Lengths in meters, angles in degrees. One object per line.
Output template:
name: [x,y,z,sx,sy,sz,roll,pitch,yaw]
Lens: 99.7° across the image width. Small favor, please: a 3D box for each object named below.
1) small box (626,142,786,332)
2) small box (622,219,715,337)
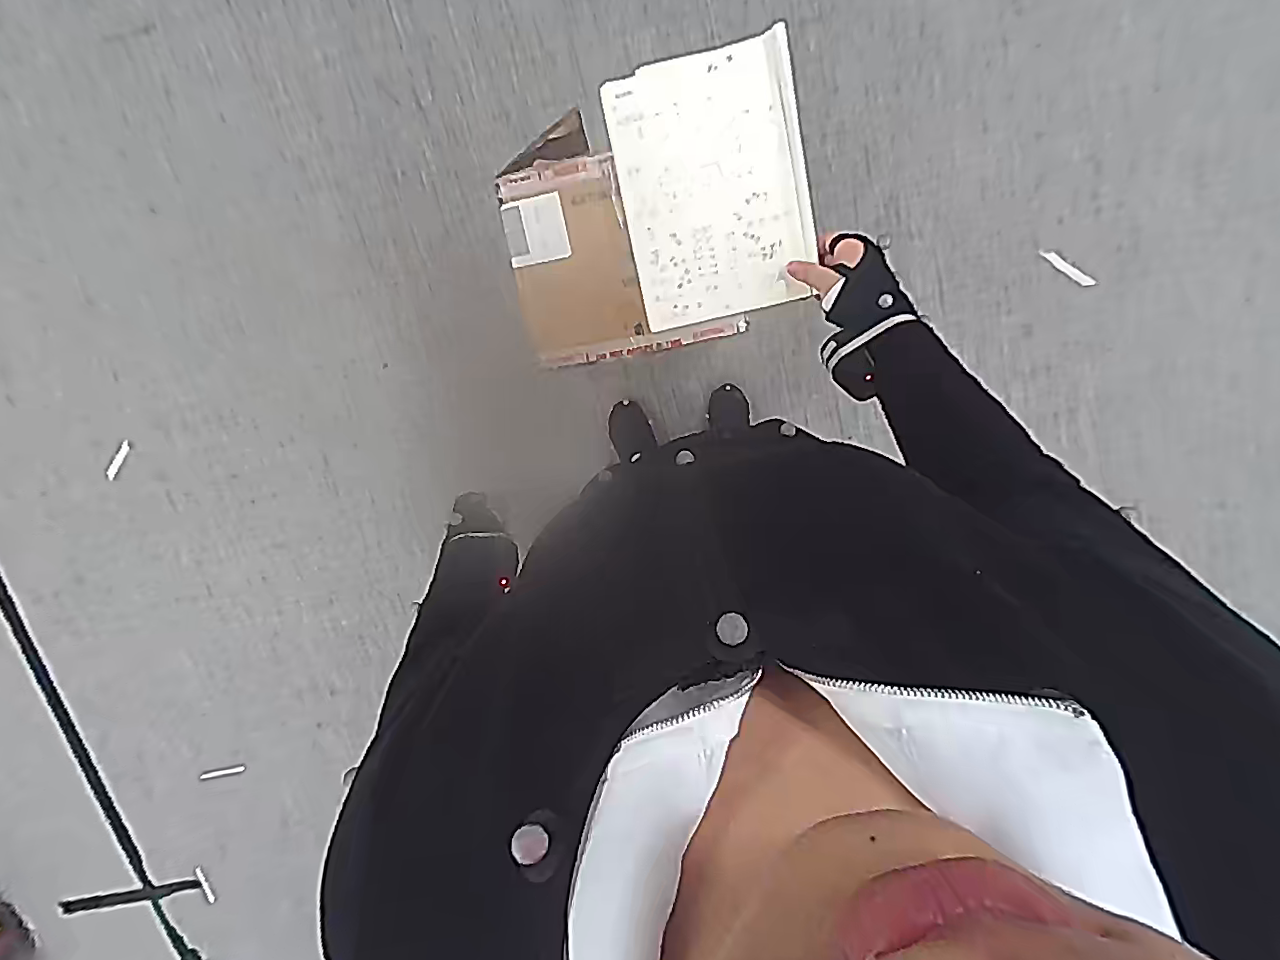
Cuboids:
small box: [0.077,-0.298,0.701,0.168,0.176,0.179,-12,103,3]
small box: [0.075,-0.332,0.863,0.179,0.176,0.168,-15,102,4]
